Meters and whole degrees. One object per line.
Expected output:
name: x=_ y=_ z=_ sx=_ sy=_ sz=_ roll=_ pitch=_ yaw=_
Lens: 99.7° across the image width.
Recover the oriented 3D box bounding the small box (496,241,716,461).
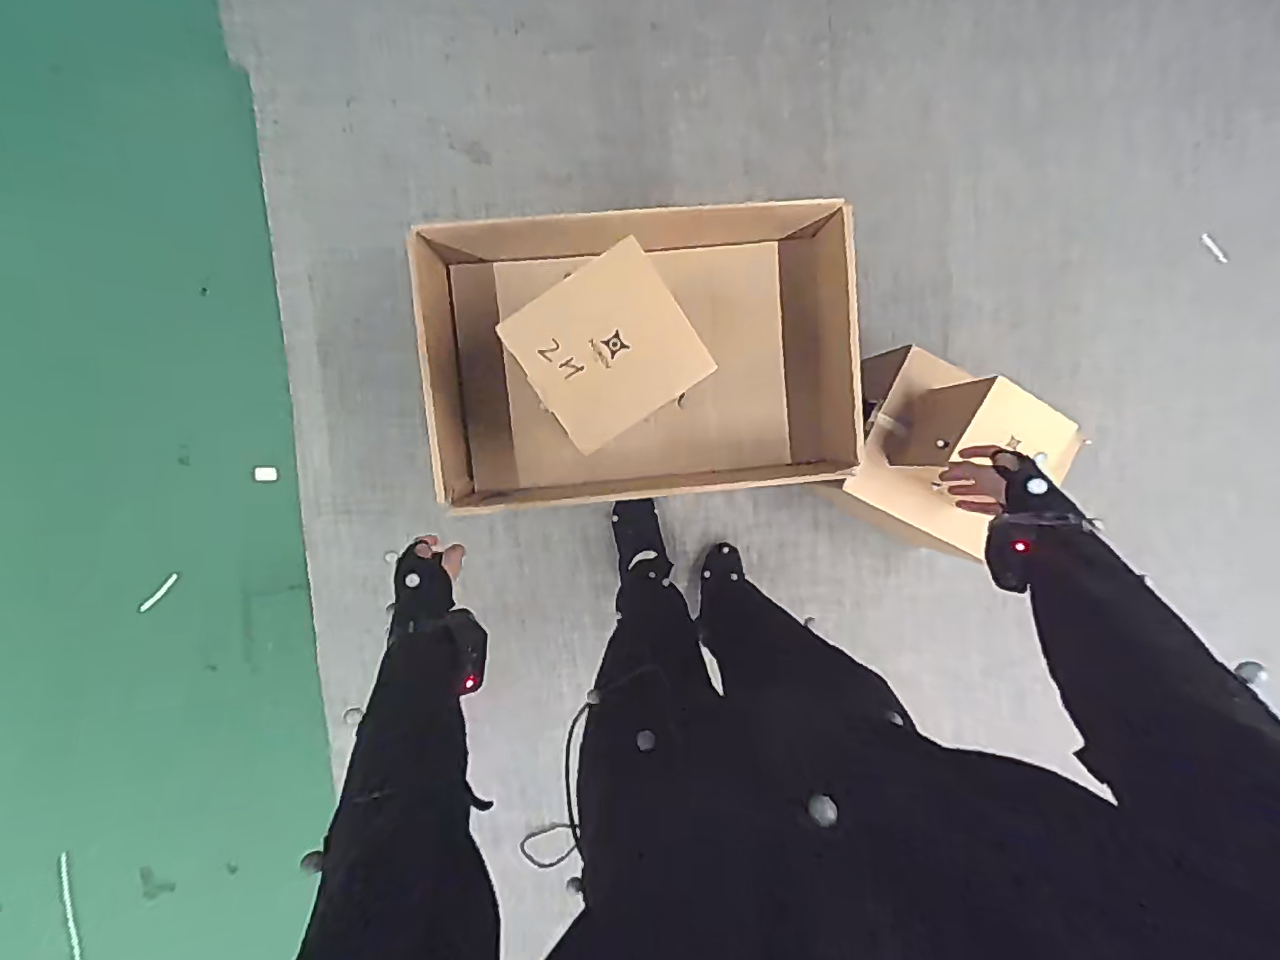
small box: x=-0.038 y=-0.138 z=0.637 sx=0.179 sy=0.176 sz=0.168 roll=-34 pitch=94 yaw=0

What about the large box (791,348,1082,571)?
large box: x=0.617 y=-0.044 z=1.194 sx=0.408 sy=0.320 sz=0.320 roll=25 pitch=92 yaw=-6

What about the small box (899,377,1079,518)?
small box: x=0.595 y=-0.056 z=0.947 sx=0.168 sy=0.176 sz=0.179 roll=30 pitch=91 yaw=-5
